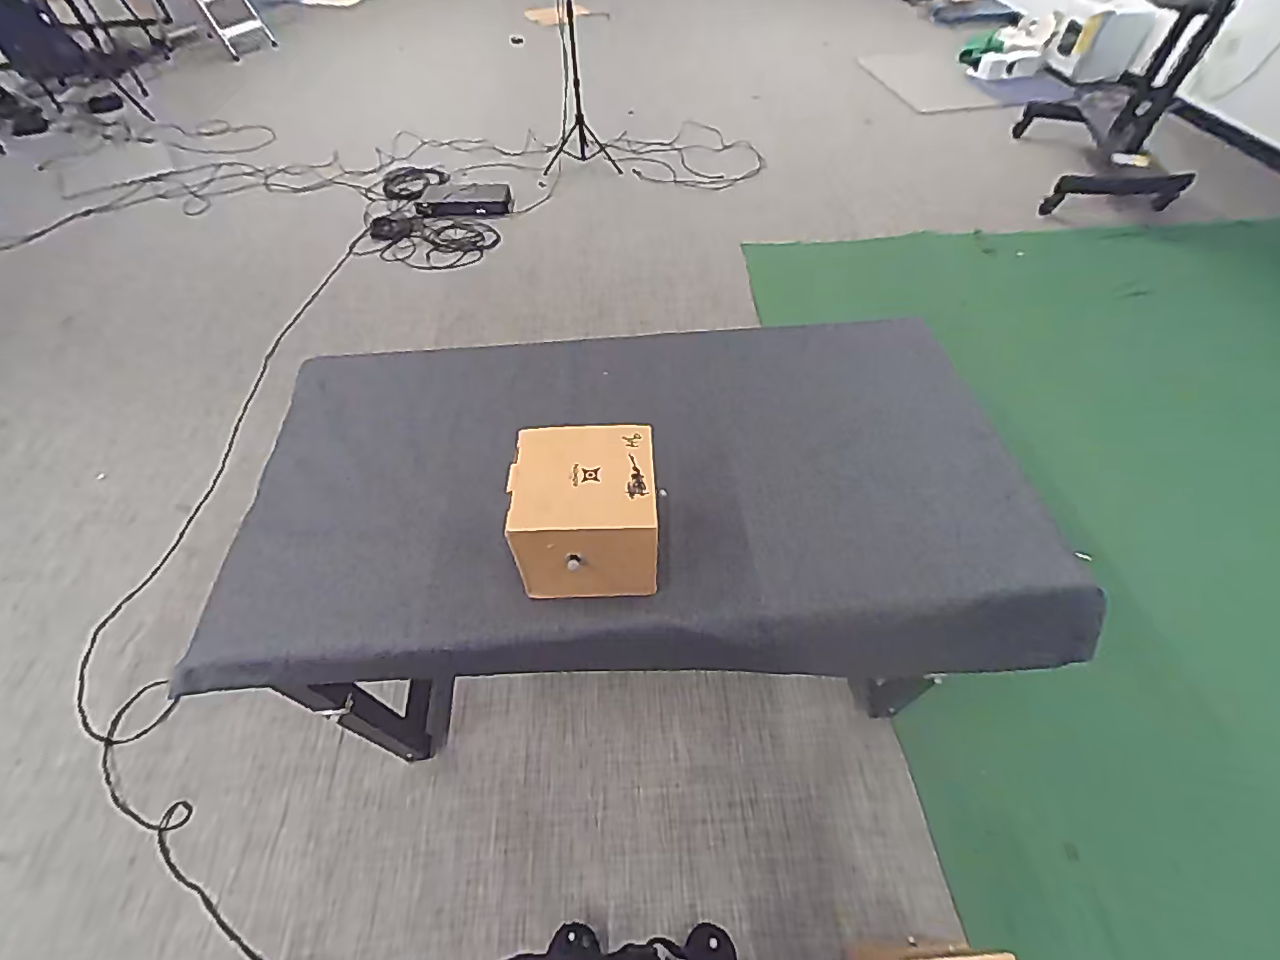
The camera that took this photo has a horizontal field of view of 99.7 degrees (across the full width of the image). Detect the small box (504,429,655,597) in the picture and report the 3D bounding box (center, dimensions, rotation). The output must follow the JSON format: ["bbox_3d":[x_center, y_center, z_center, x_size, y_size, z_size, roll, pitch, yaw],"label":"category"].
[{"bbox_3d":[-0.069,0.048,0.728,0.179,0.176,0.168,-1,51,0],"label":"small box"}]

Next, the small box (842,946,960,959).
[{"bbox_3d":[0.477,0.941,0.954,0.179,0.176,0.168,-5,51,-2],"label":"small box"}]

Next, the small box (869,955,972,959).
[{"bbox_3d":[0.464,0.841,0.823,0.179,0.176,0.168,-2,51,0],"label":"small box"}]
